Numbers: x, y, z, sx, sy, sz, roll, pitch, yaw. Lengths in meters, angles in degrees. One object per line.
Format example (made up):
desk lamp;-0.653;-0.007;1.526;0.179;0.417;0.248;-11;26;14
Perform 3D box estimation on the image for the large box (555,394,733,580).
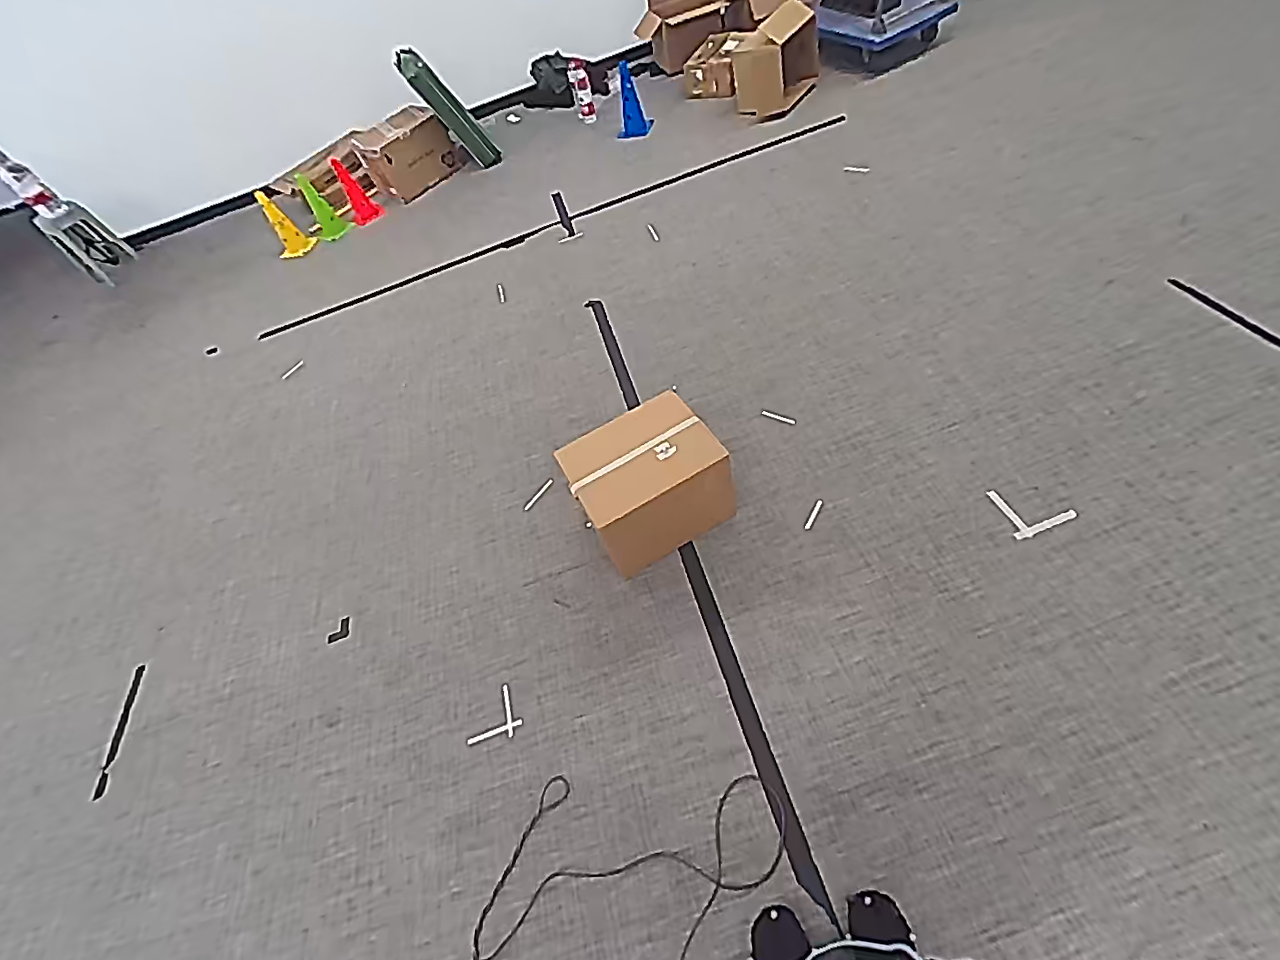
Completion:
large box;0.021;0.024;1.610;0.408;0.320;0.320;-29;54;-8
